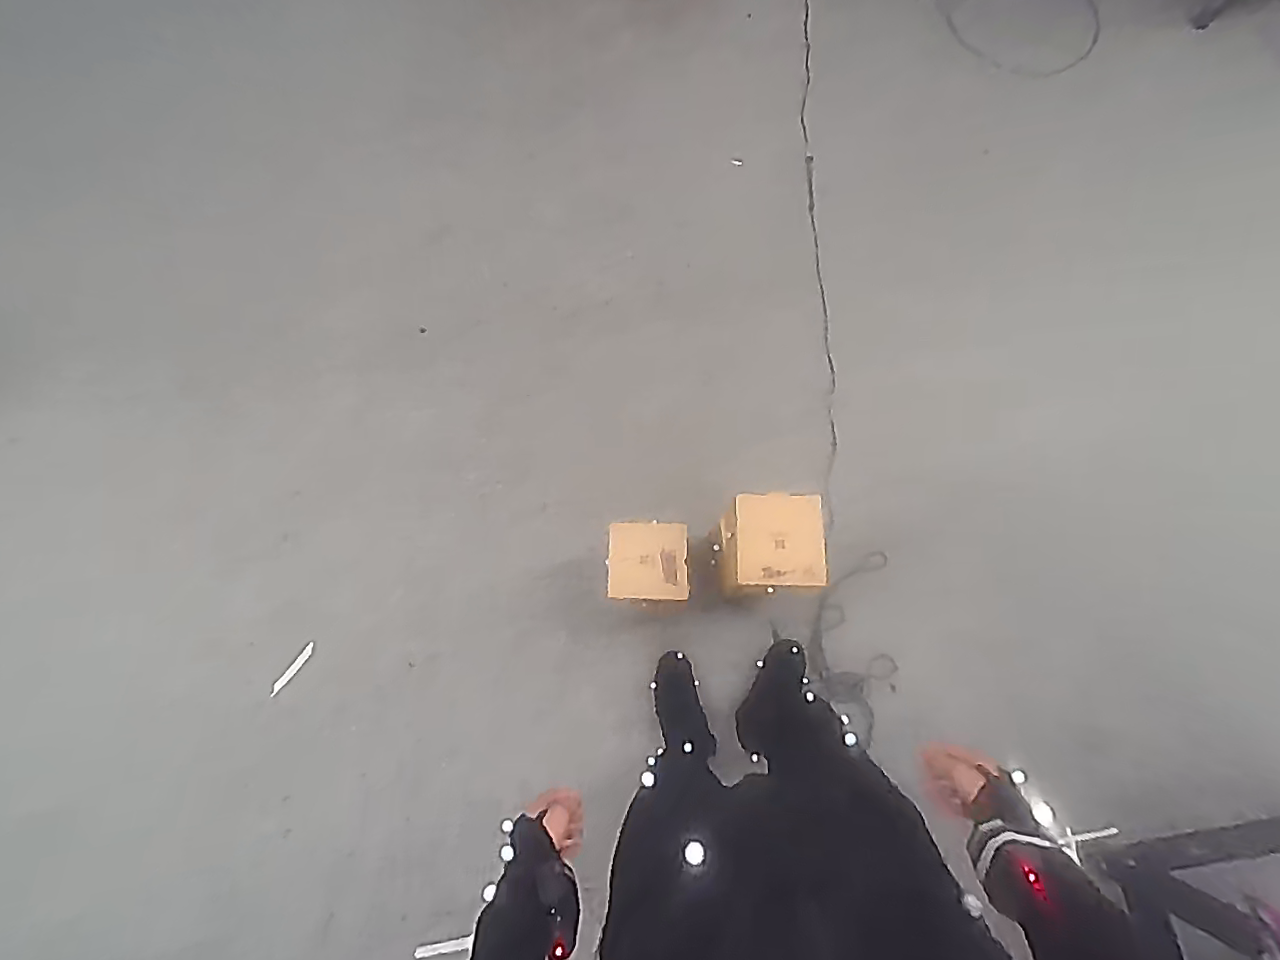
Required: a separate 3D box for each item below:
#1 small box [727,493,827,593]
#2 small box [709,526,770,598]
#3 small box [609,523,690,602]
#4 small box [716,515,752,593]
[{"bbox_3d":[0.268,0.132,1.096,0.168,0.176,0.179,1,75,2],"label":"small box"},{"bbox_3d":[0.279,0.209,1.413,0.168,0.176,0.179,-8,76,1],"label":"small box"},{"bbox_3d":[0.024,0.195,1.252,0.179,0.176,0.168,1,75,3],"label":"small box"},{"bbox_3d":[0.275,0.170,1.256,0.179,0.176,0.168,-6,75,0],"label":"small box"}]
